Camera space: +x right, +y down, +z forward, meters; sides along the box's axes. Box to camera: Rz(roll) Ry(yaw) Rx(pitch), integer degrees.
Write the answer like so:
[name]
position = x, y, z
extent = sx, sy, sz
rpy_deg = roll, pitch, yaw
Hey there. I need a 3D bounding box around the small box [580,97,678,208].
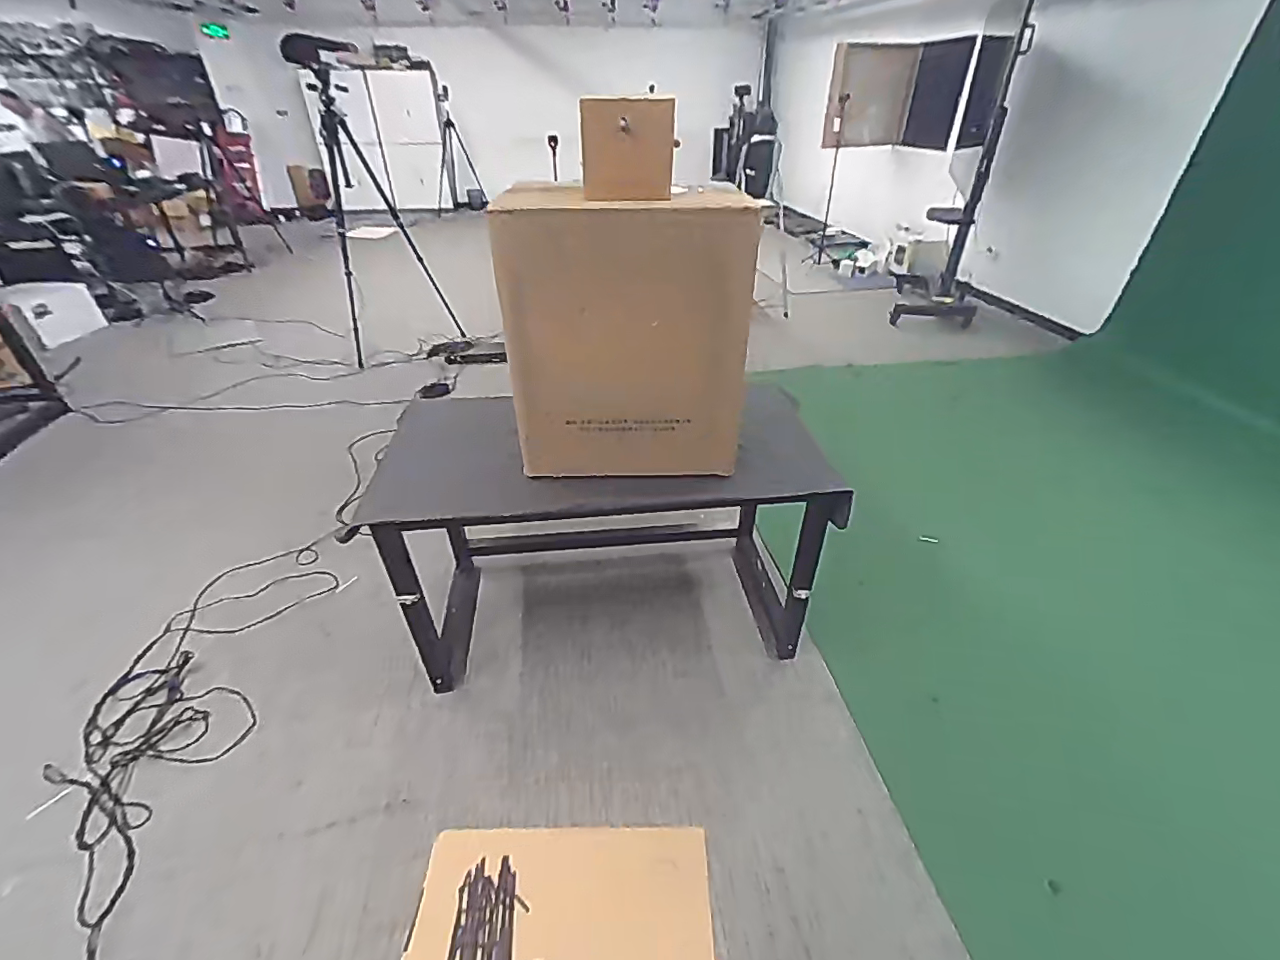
[small box]
position = -0.020, -0.650, 1.073
extent = 0.179, 0.176, 0.168
rpy_deg = 0, 38, 0
